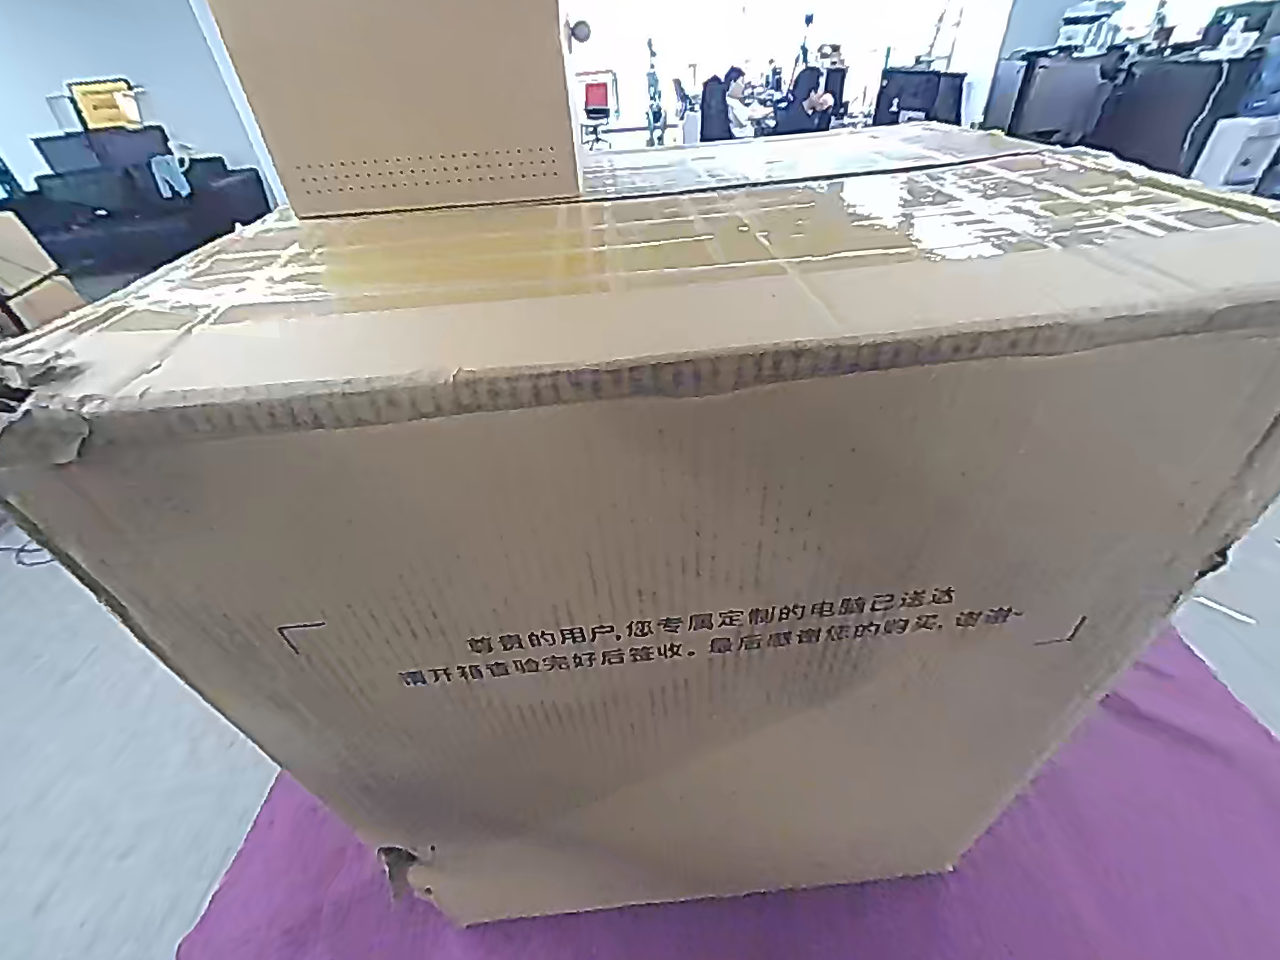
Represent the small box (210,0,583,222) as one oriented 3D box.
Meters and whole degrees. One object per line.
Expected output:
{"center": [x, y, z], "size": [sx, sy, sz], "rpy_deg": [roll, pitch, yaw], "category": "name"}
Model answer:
{"center": [-0.130, -0.274, 0.341], "size": [0.179, 0.176, 0.168], "rpy_deg": [-5, 38, -2], "category": "small box"}
